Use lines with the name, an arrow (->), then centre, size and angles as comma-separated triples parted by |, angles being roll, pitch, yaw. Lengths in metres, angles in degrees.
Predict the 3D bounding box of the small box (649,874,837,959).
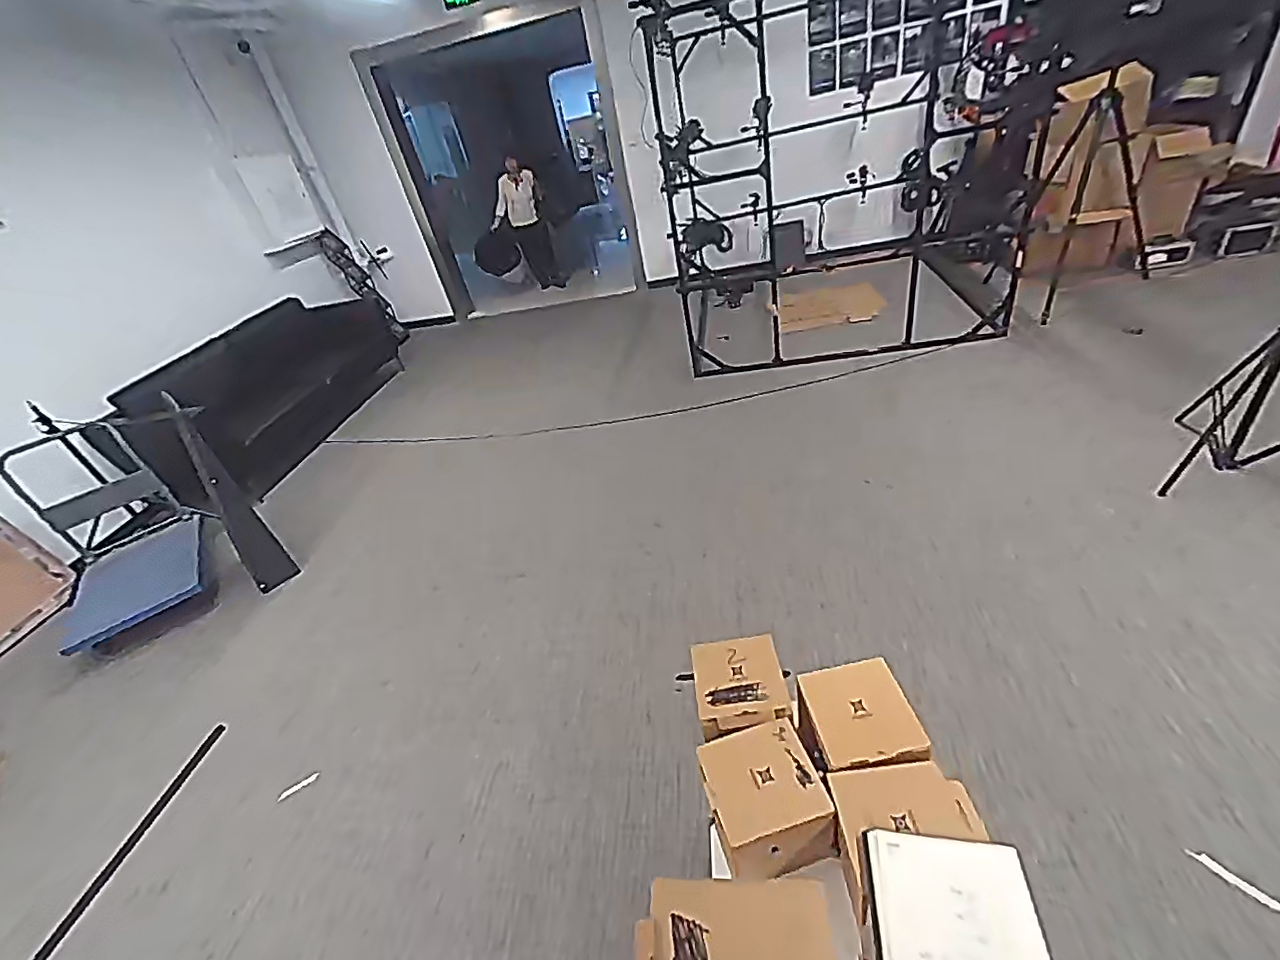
small box -> 0.107, 0.517, 0.549 | 0.179, 0.176, 0.168 | -5, 46, 7
